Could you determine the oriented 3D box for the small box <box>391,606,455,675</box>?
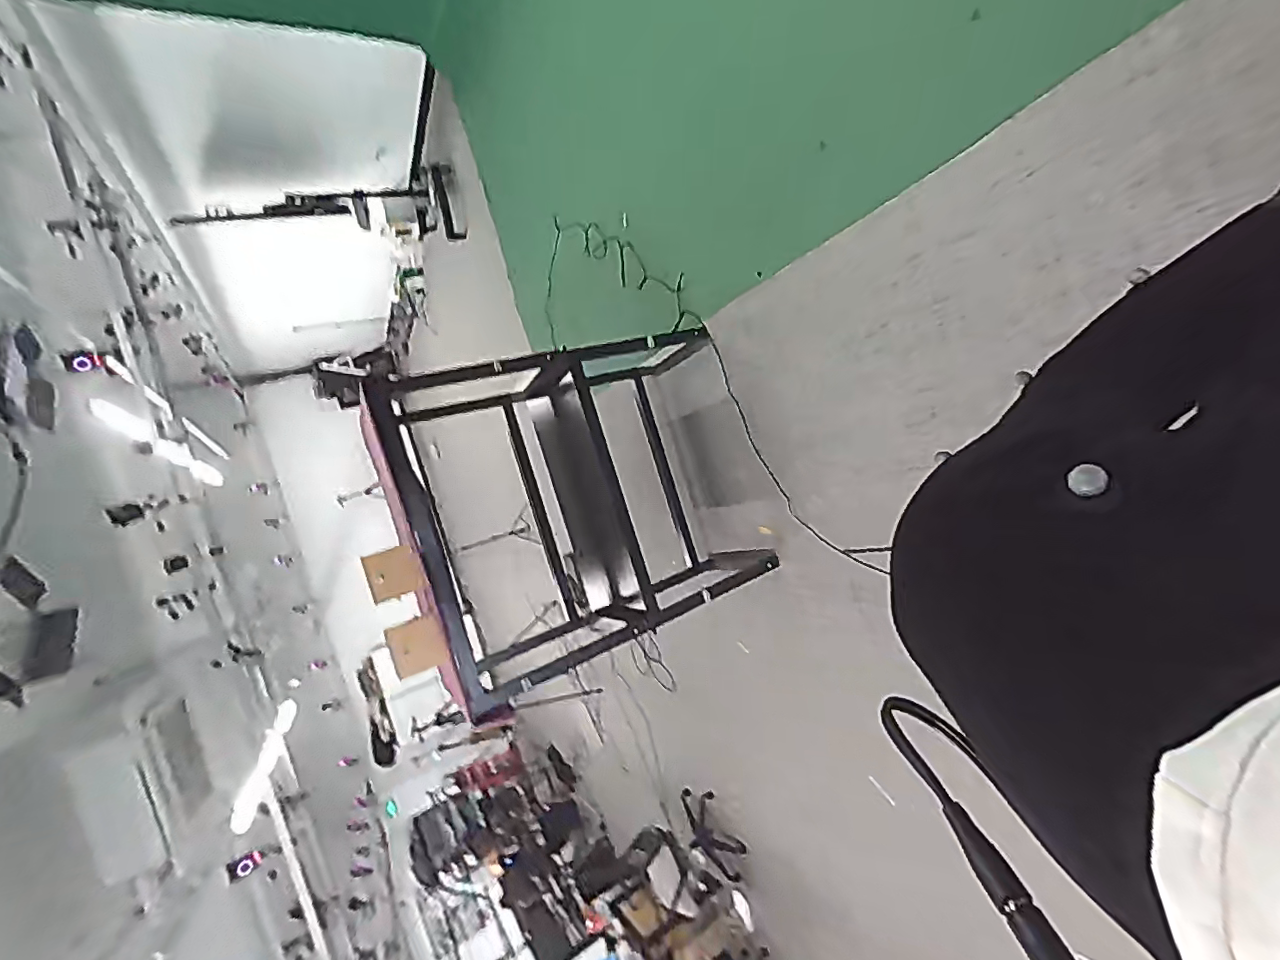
[{"bbox_3d":[-0.768,0.563,1.916,0.168,0.176,0.179,-20,87,61],"label":"small box"}]

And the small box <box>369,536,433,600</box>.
[{"bbox_3d":[-0.842,0.305,1.906,0.168,0.176,0.179,-15,92,62],"label":"small box"}]
